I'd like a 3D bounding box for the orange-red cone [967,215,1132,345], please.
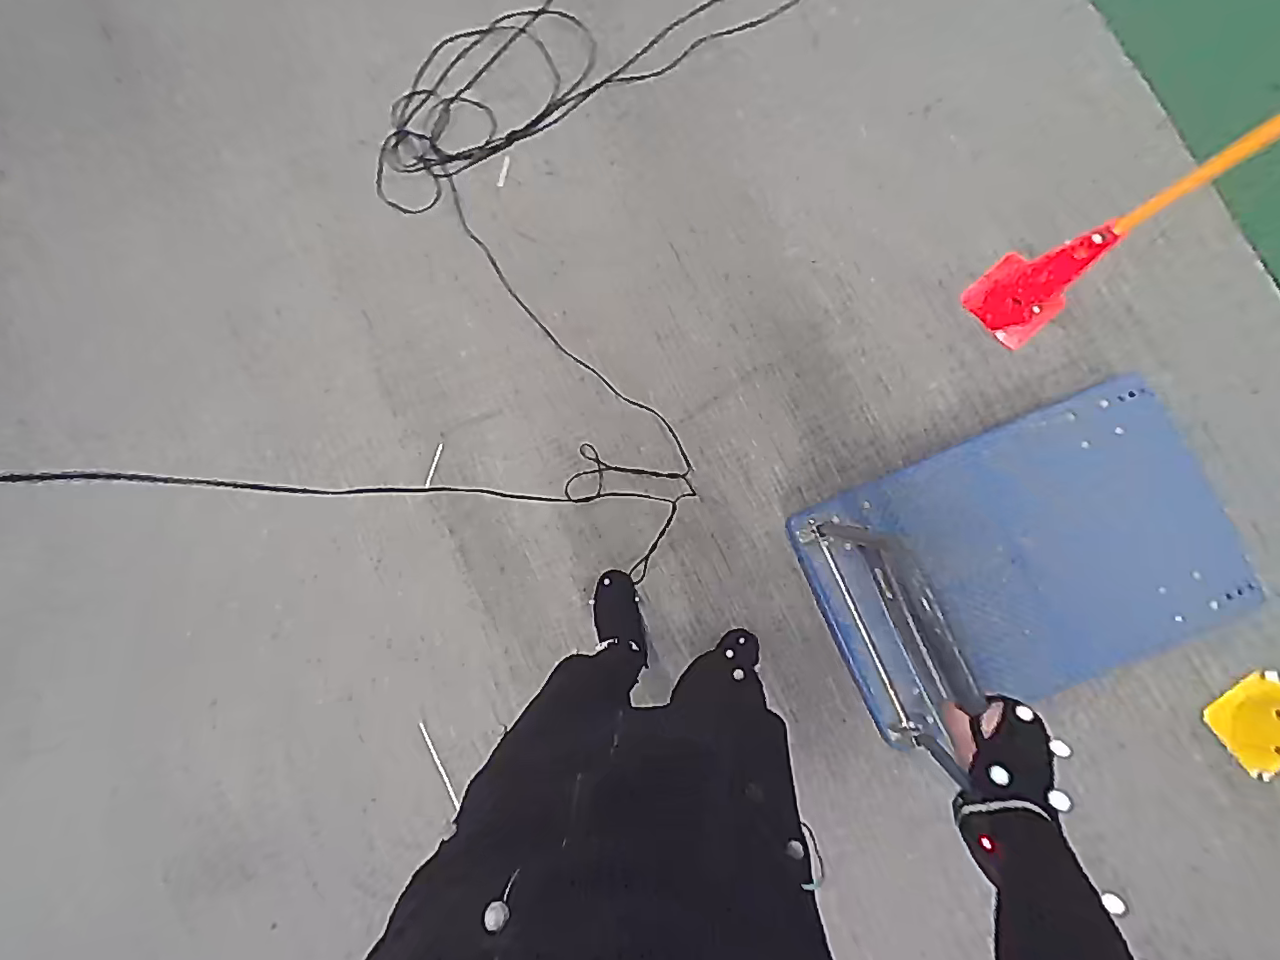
[{"bbox_3d":[0.972,-0.492,1.248,0.198,0.360,0.199,-40,82,0],"label":"orange-red cone"}]
